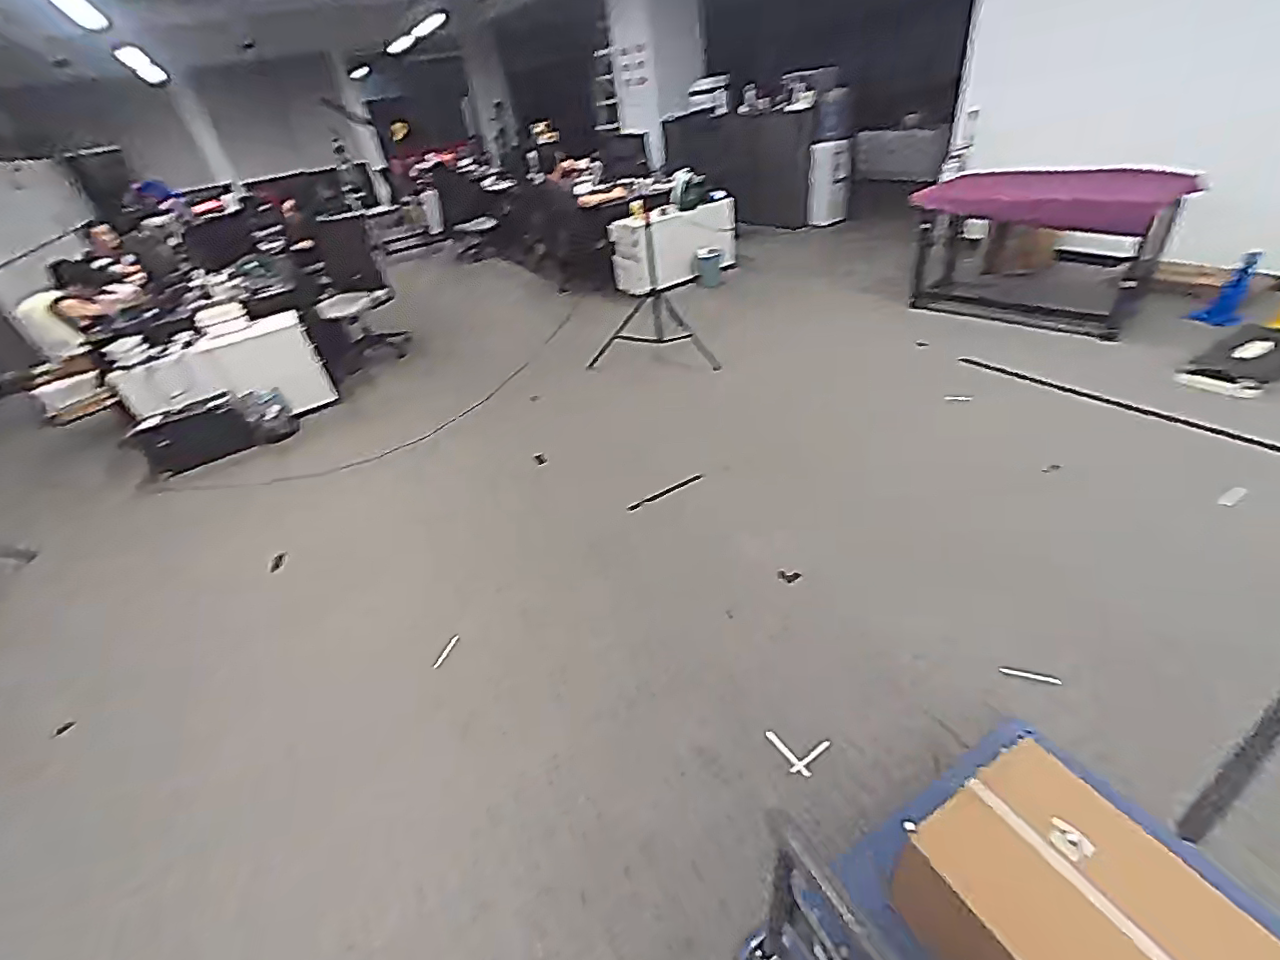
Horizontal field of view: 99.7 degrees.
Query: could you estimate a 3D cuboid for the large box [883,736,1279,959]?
[{"bbox_3d":[0.686,0.744,0.902,0.320,0.320,0.408,-24,37,-20],"label":"large box"}]
